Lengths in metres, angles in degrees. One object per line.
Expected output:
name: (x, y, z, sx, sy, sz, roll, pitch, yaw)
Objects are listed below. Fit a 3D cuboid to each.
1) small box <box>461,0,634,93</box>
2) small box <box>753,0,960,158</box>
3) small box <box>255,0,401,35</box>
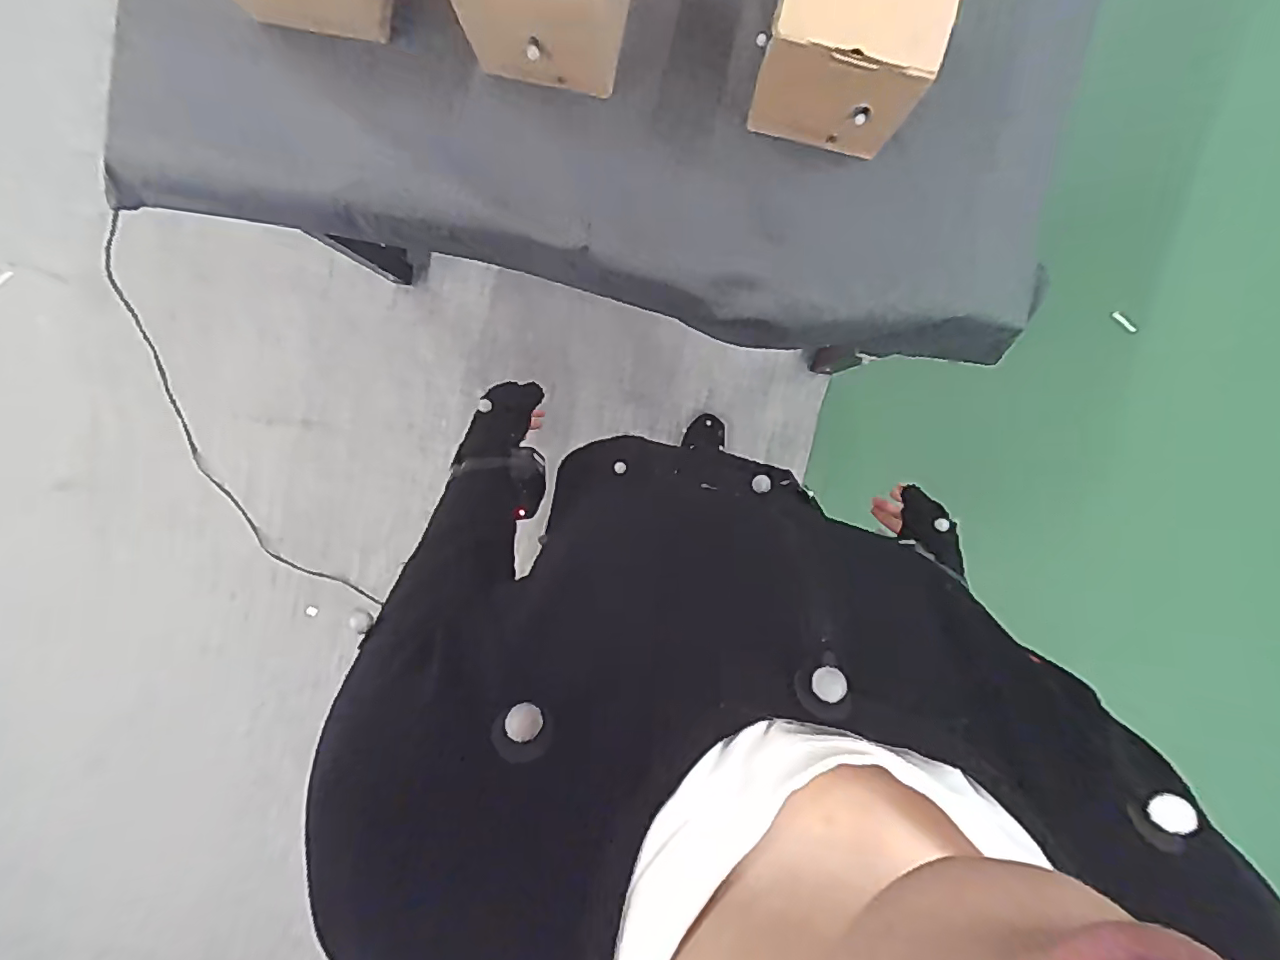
small box: (-0.095, -0.577, 0.600, 0.168, 0.176, 0.179, 12, 96, 0)
small box: (0.235, -0.500, 0.603, 0.168, 0.176, 0.179, 14, 94, -1)
small box: (-0.381, -0.644, 0.597, 0.179, 0.176, 0.168, 10, 96, -1)
